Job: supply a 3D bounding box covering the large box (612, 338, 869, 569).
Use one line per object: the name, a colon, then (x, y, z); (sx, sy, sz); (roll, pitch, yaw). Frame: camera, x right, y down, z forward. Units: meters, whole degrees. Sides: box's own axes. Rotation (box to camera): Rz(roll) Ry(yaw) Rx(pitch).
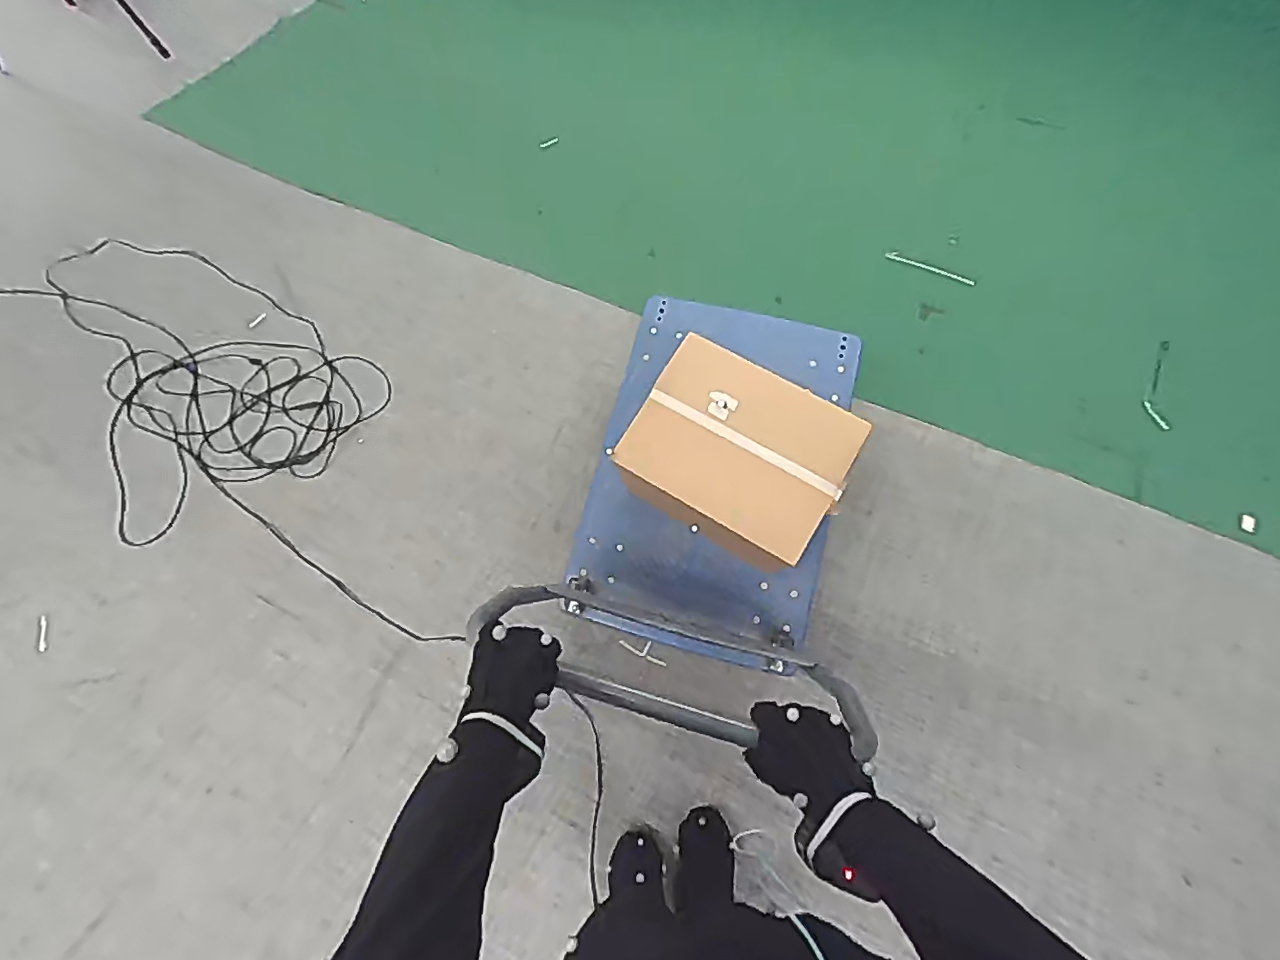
large box: (0.207, -0.038, 1.178); (0.408, 0.320, 0.320); (30, 82, 12)
